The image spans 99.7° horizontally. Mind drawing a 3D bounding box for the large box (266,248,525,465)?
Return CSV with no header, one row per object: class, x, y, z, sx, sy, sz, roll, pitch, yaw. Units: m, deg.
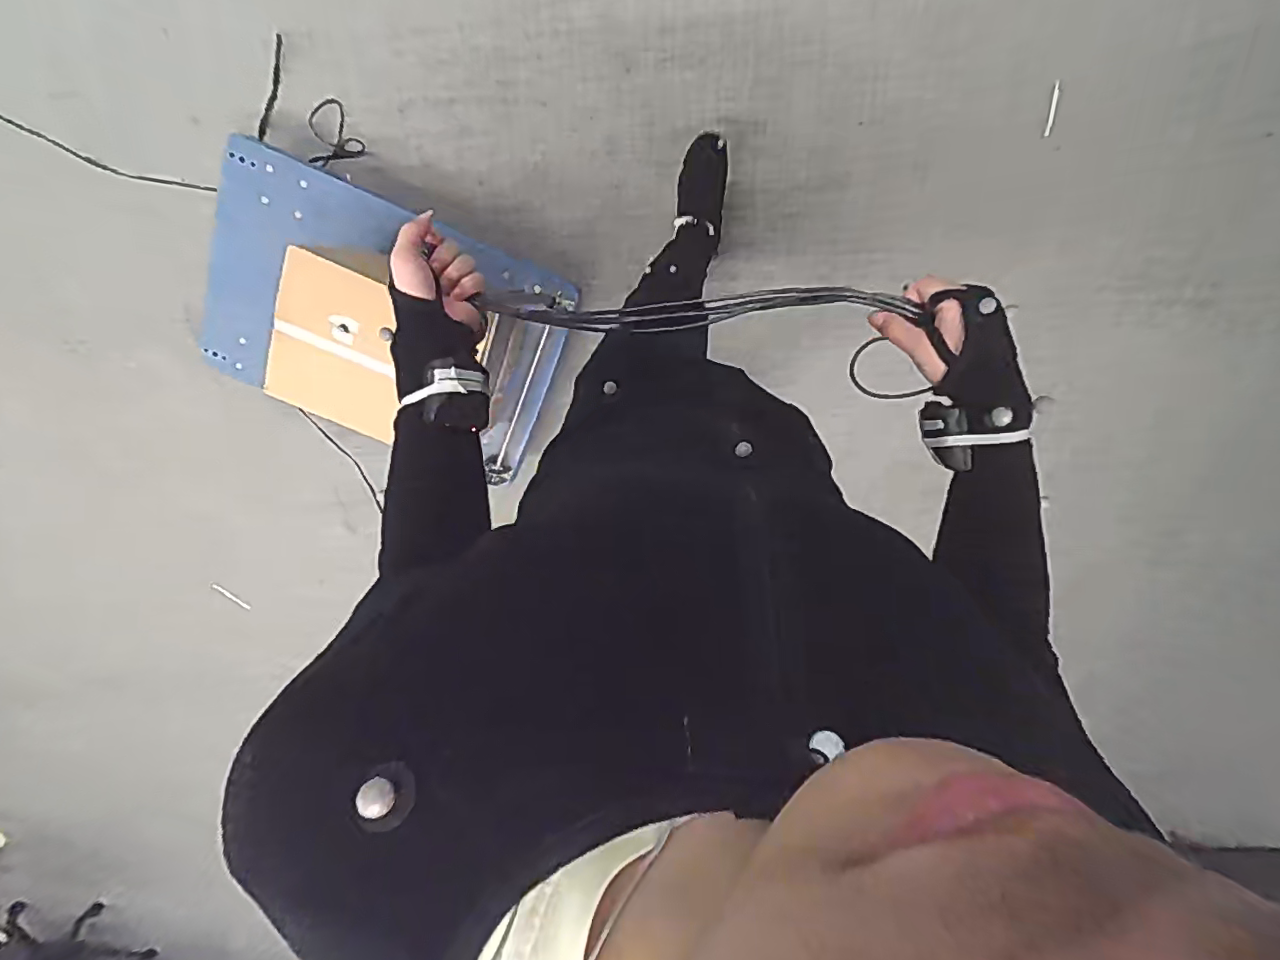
large box,-0.523,-0.284,1.217,0.408,0.320,0.320,23,109,-5
